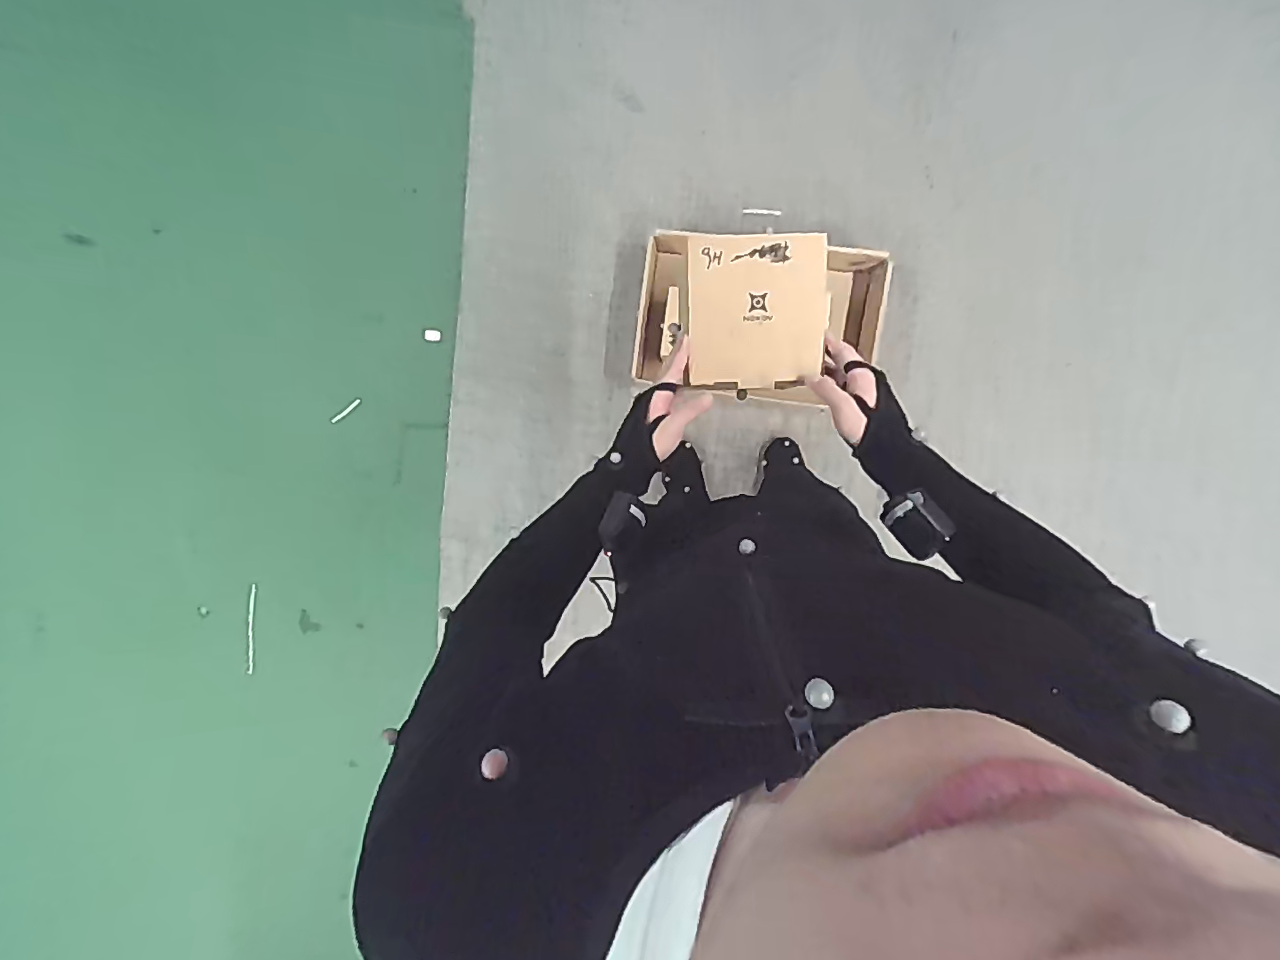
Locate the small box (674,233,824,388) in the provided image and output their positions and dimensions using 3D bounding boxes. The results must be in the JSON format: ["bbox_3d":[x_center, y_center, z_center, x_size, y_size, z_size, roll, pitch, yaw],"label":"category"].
[{"bbox_3d":[0.134,-0.212,0.719,0.168,0.176,0.179,-1,98,0],"label":"small box"}]
